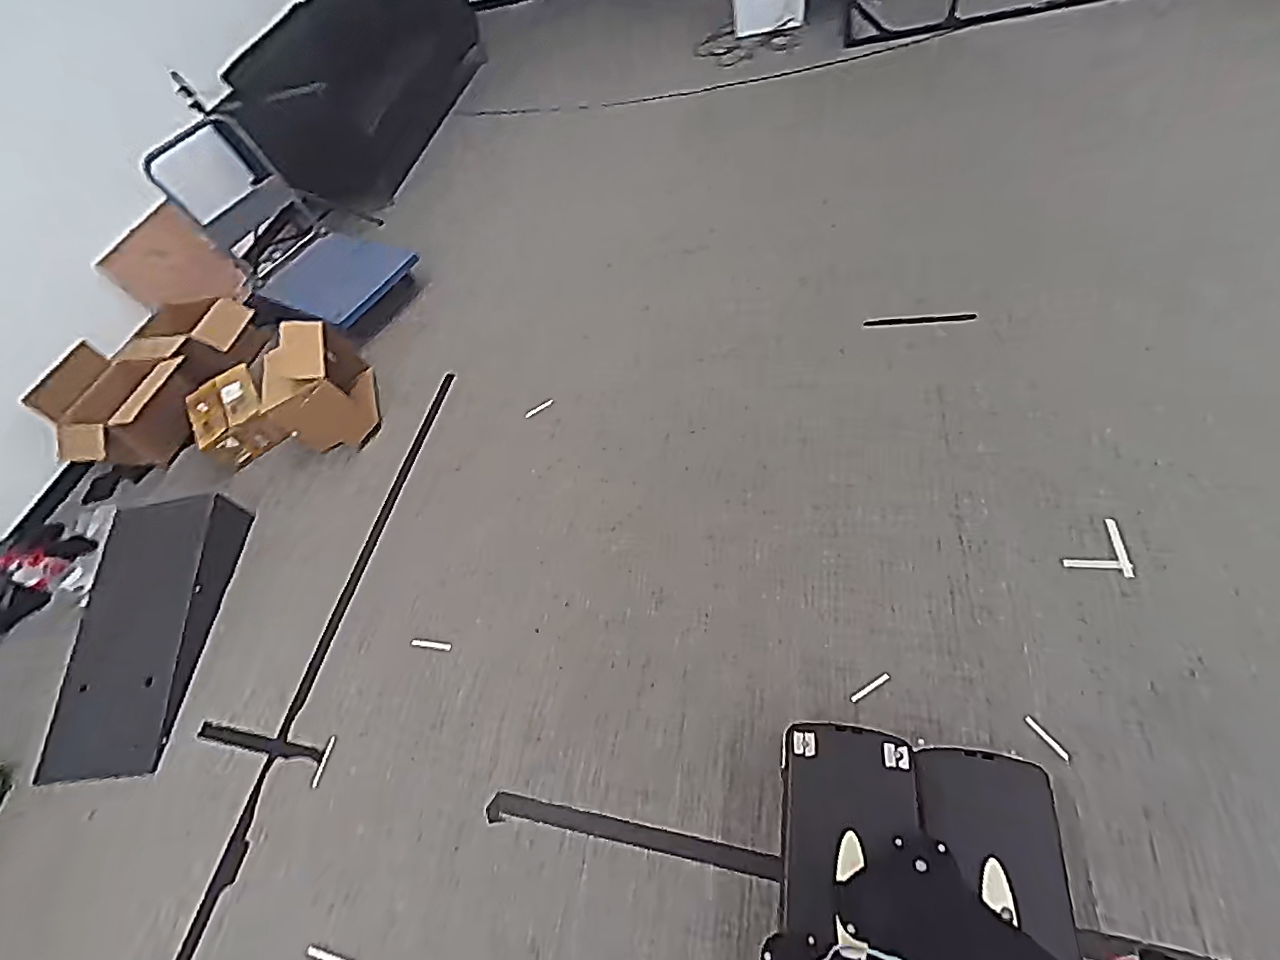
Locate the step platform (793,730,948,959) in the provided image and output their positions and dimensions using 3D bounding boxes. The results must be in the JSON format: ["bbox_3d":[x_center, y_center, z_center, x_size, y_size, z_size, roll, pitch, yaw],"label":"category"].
[{"bbox_3d":[0.471,0.905,1.141,0.286,0.204,0.684,1,57,15],"label":"step platform"}]
